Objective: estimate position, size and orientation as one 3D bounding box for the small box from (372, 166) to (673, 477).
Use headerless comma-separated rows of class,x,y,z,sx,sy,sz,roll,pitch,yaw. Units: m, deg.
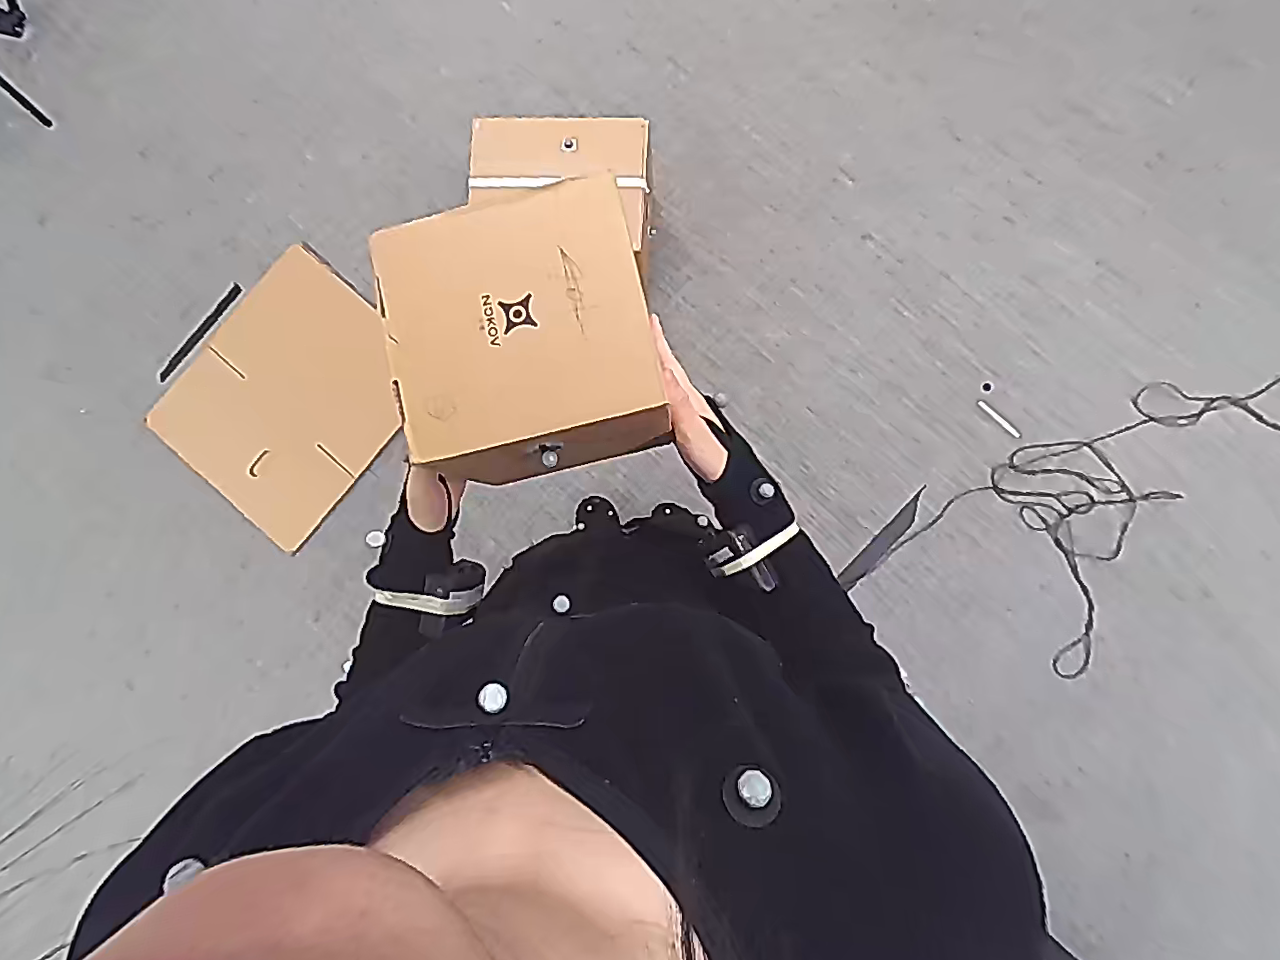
small box,-0.075,-0.103,0.433,0.179,0.176,0.168,-14,85,3
